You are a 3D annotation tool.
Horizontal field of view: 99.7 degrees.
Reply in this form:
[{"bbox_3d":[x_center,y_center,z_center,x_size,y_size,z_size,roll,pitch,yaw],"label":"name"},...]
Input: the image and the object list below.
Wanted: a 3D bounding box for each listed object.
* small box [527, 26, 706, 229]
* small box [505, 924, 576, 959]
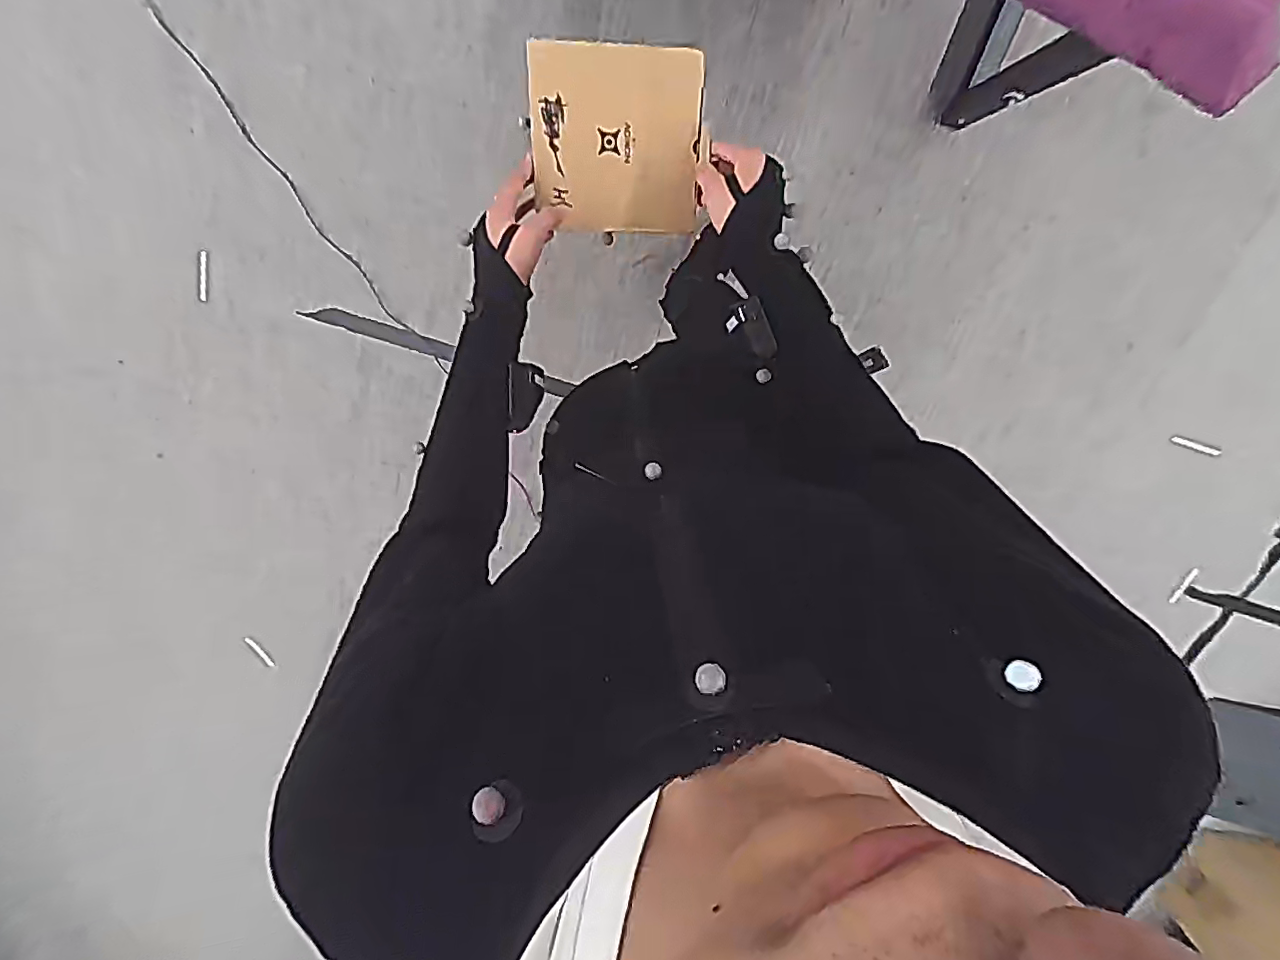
[{"bbox_3d":[-0.036,-0.383,0.619,0.179,0.176,0.168,-2,115,-8],"label":"small box"},{"bbox_3d":[-0.300,1.440,1.566,0.168,0.176,0.179,32,111,-10],"label":"small box"}]
